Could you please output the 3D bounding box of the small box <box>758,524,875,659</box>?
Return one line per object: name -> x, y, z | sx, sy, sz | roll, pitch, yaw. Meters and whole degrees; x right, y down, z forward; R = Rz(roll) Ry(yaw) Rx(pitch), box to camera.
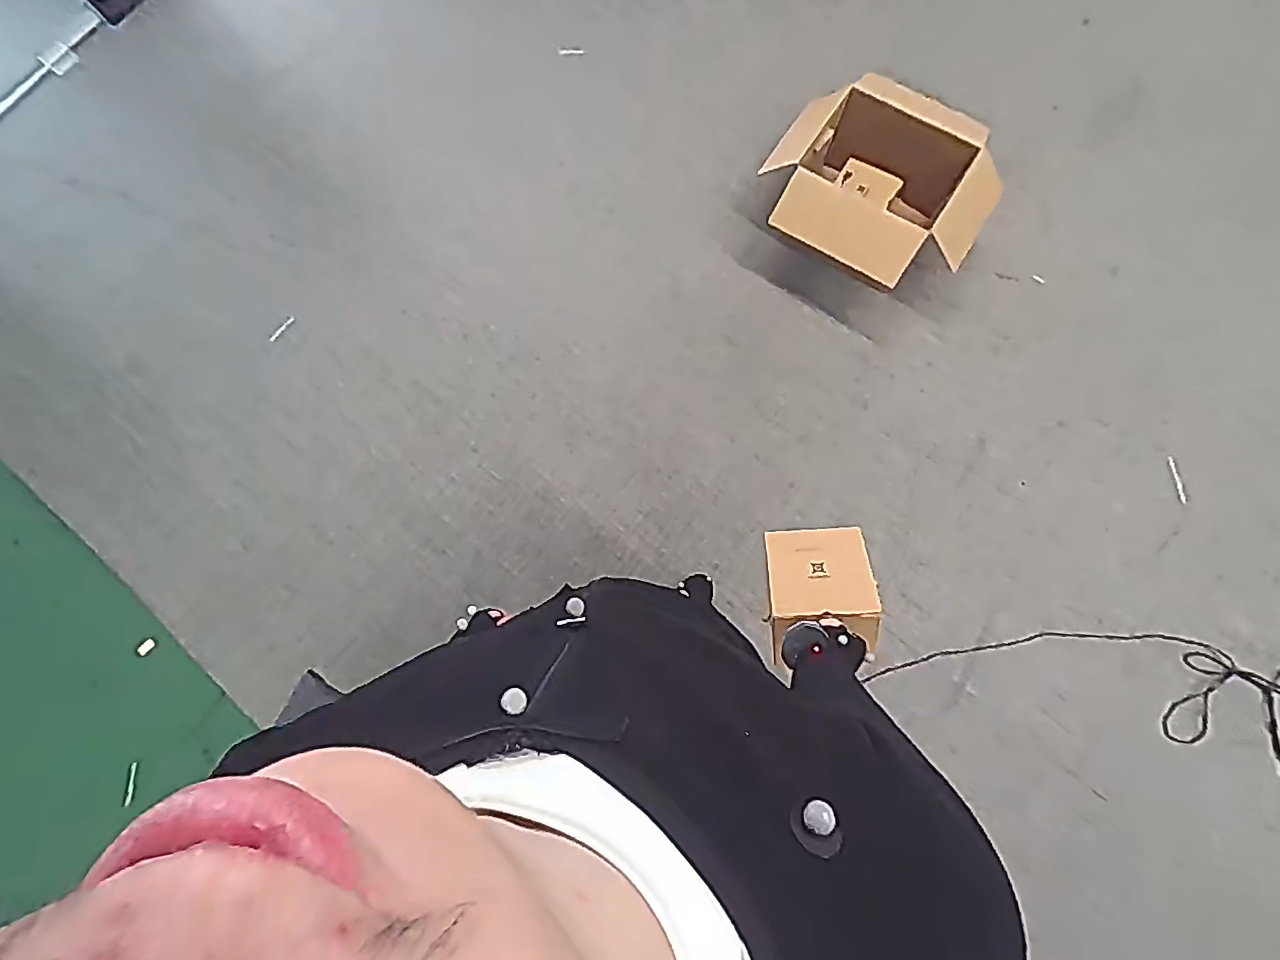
small box -> 0.299, 0.200, 0.945 | 0.168, 0.176, 0.179 | -4, 43, 9
